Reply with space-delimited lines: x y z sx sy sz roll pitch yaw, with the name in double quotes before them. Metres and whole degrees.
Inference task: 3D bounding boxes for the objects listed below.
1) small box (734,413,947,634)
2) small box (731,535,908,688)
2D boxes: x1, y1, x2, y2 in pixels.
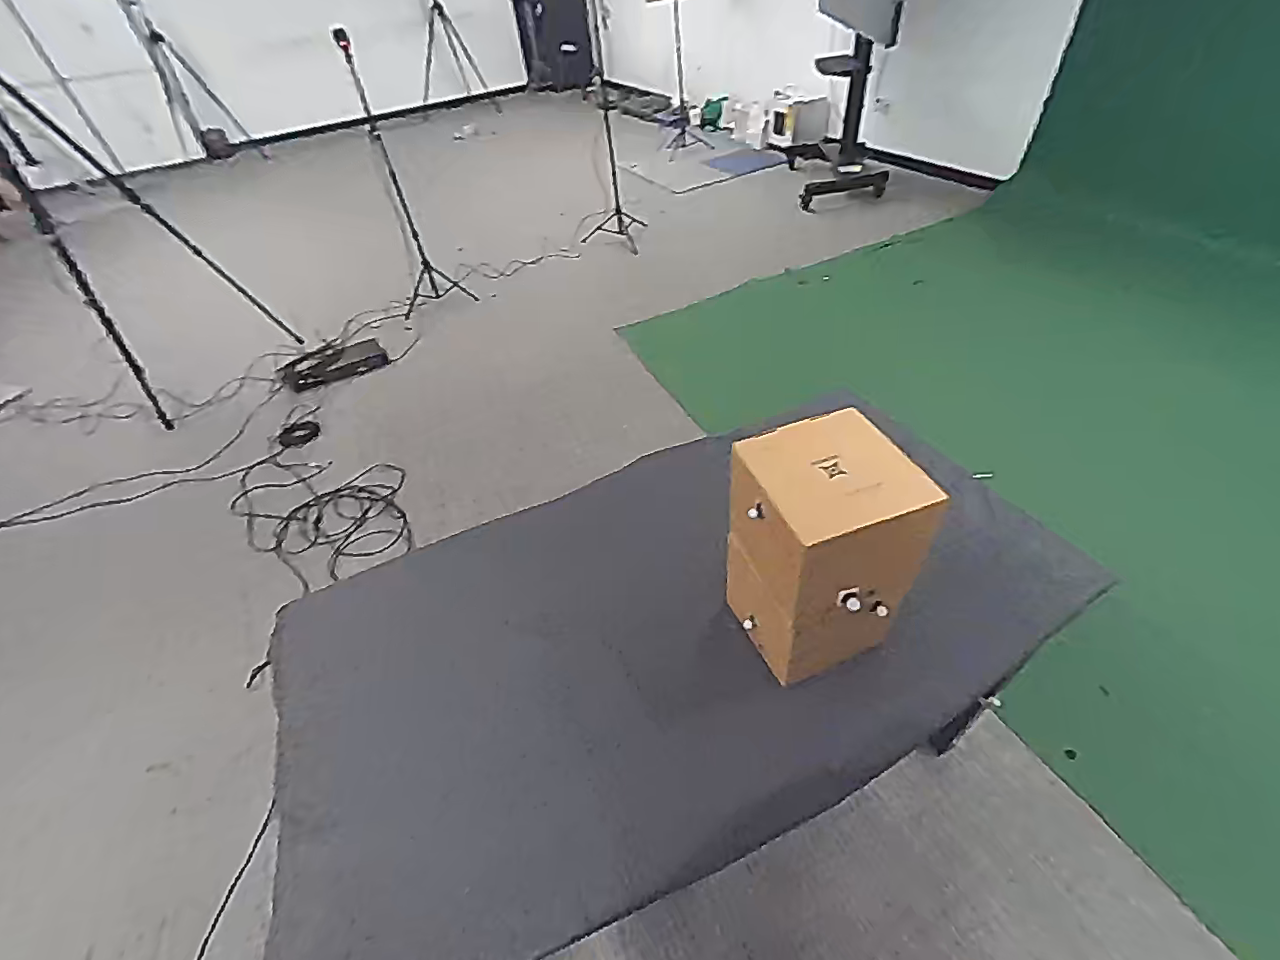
"small box" 0.221 0.051 0.653 0.168 0.176 0.179 -18 45 -8
"small box" 0.241 0.161 0.770 0.179 0.176 0.168 -20 44 -12
